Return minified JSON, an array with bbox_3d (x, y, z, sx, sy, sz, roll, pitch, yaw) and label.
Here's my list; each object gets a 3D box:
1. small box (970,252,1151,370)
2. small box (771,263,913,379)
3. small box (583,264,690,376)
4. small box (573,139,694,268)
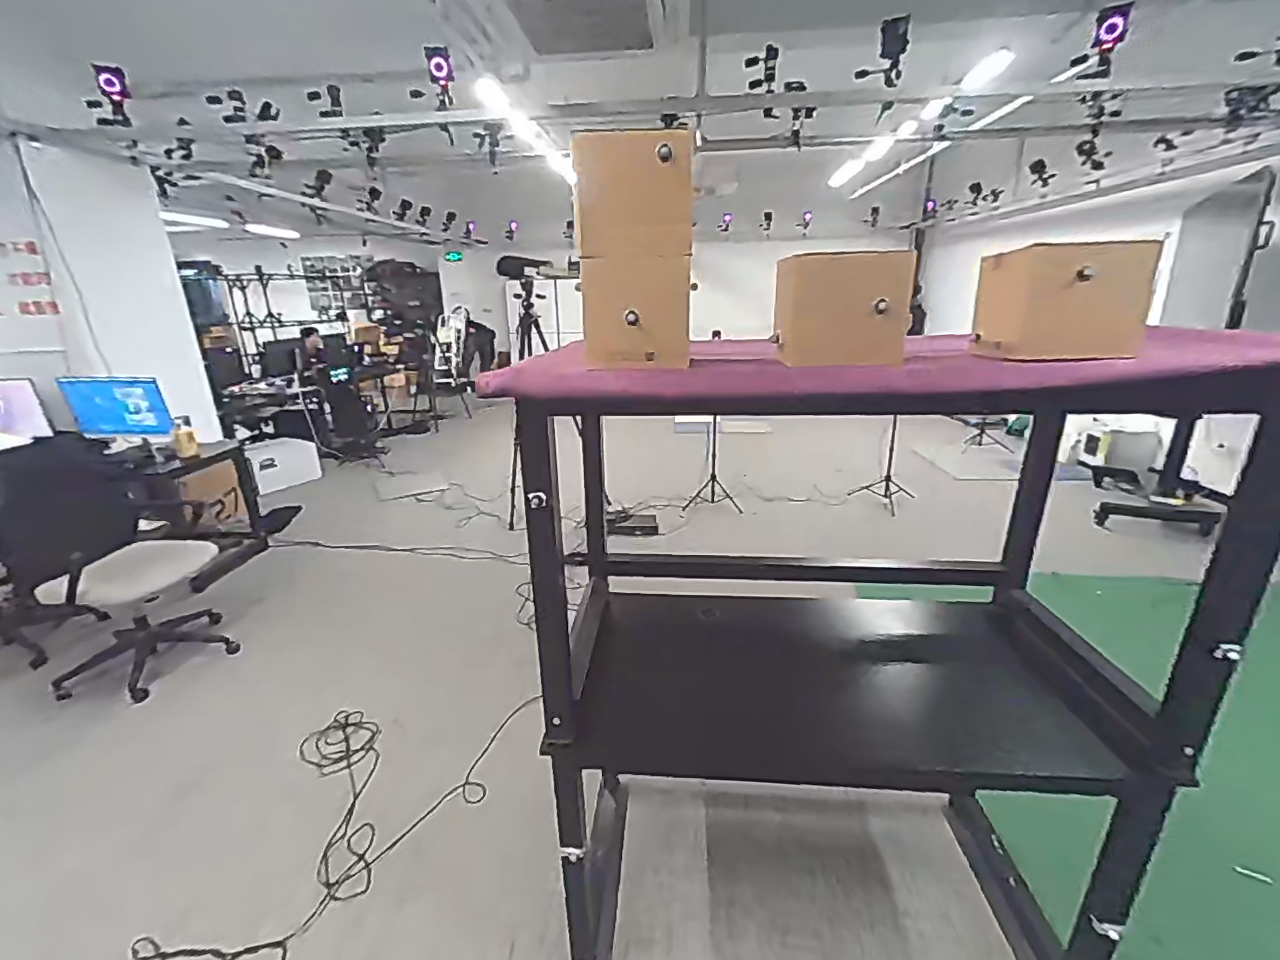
[{"bbox_3d":[0.671,-0.270,0.890,0.179,0.176,0.168,1,16,6],"label":"small box"},{"bbox_3d":[0.322,-0.264,0.897,0.179,0.176,0.168,0,17,4],"label":"small box"},{"bbox_3d":[0.001,-0.269,0.914,0.168,0.176,0.179,2,18,3],"label":"small box"},{"bbox_3d":[-0.006,-0.423,0.862,0.179,0.176,0.168,1,19,1],"label":"small box"}]
